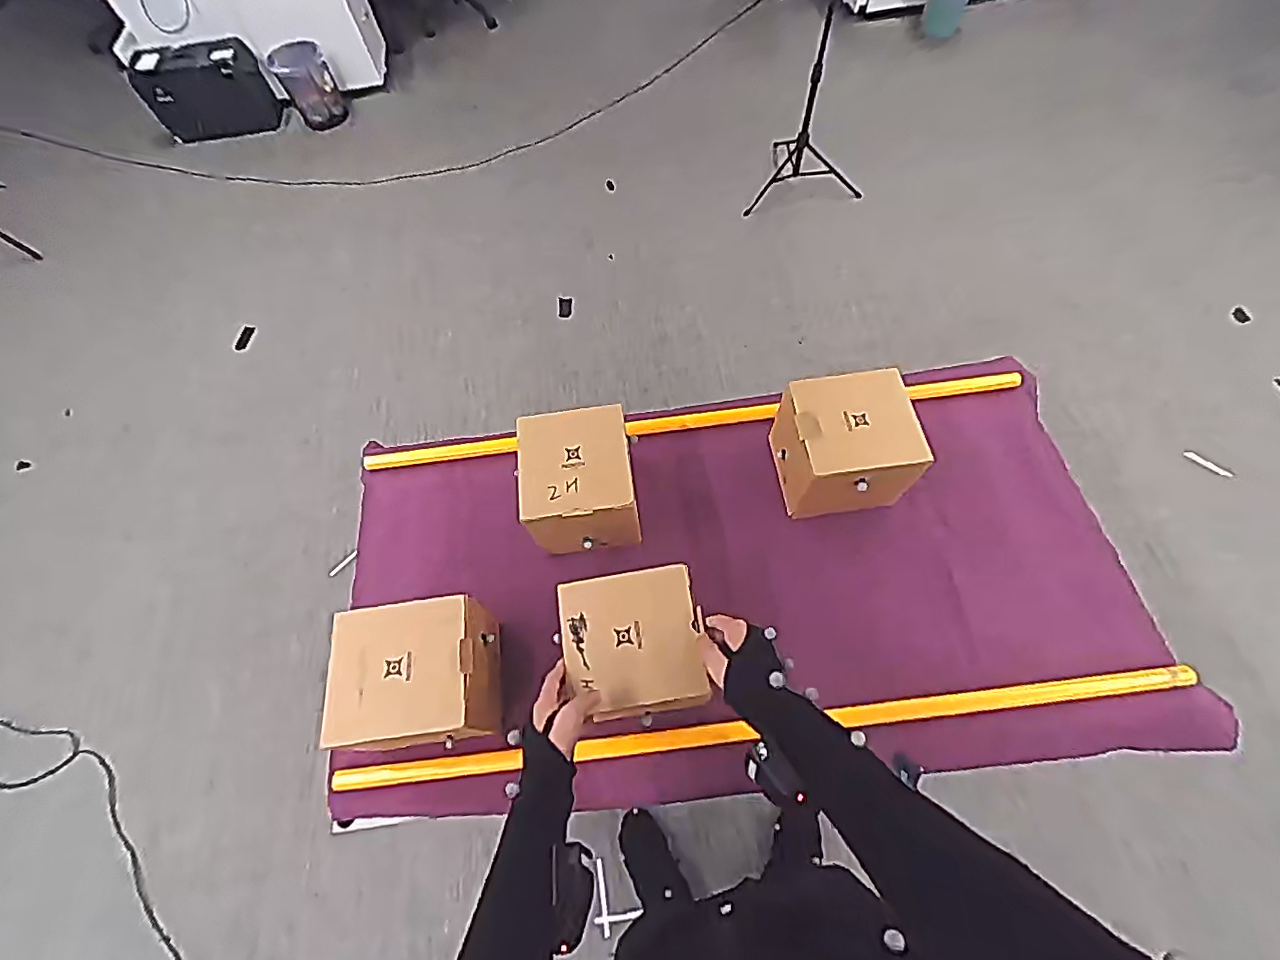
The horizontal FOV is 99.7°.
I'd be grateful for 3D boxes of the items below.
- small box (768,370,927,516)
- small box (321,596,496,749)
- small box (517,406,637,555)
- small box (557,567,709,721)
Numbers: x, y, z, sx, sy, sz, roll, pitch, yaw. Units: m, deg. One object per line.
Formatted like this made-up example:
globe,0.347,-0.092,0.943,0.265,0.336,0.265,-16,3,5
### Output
small box,0.321,-0.053,0.875,0.179,0.176,0.168,-8,64,0
small box,-0.303,0.272,0.751,0.179,0.176,0.168,-8,63,-3
small box,-0.098,0.005,0.873,0.168,0.176,0.179,-8,65,0
small box,-0.010,0.233,0.753,0.179,0.176,0.168,-9,63,-1
